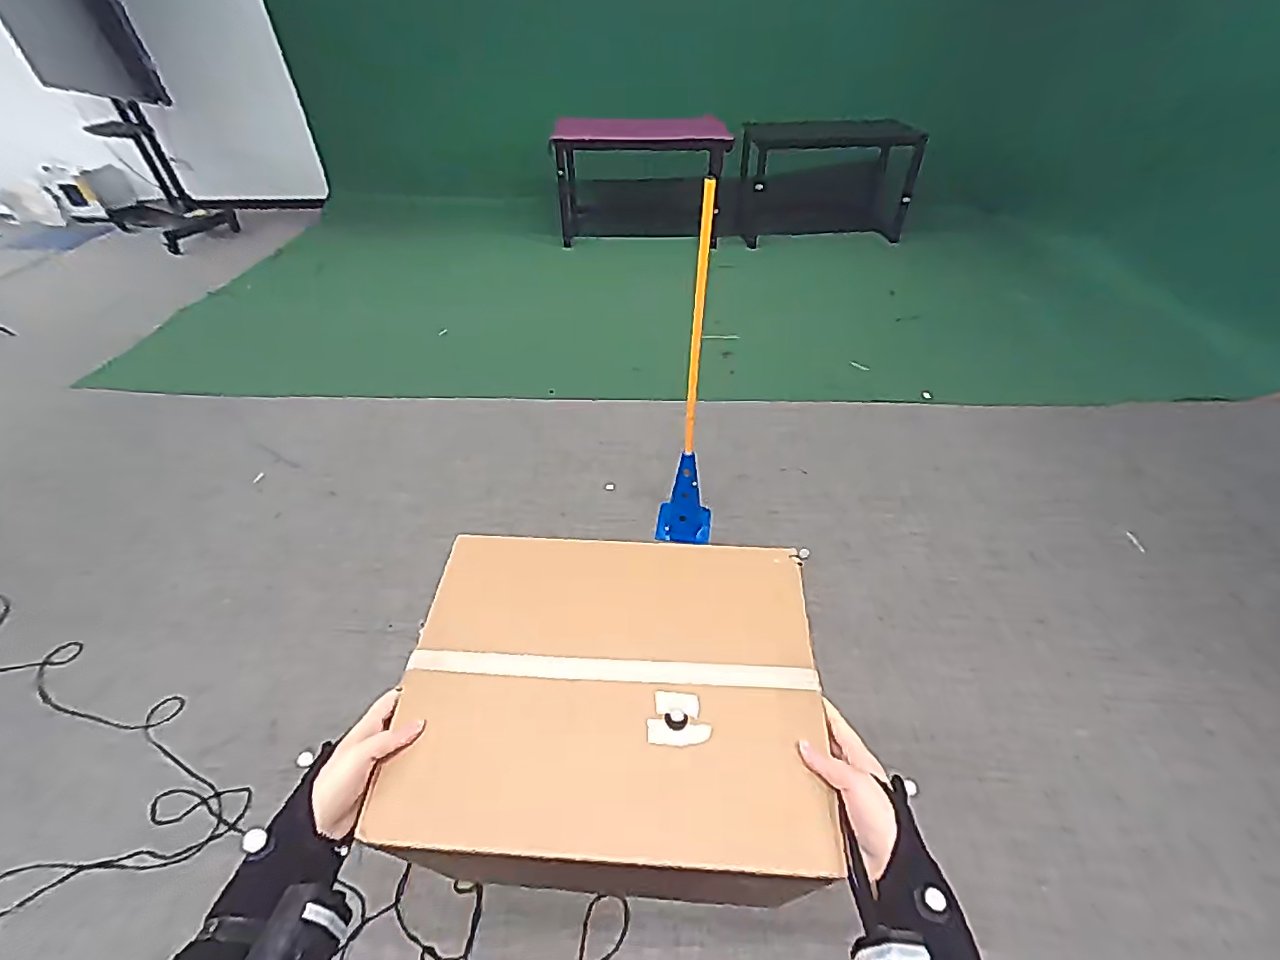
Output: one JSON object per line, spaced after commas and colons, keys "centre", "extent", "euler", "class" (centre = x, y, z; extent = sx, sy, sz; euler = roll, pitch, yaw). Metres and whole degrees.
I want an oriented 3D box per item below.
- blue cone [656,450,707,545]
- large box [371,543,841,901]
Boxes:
{"centre": [0.159, 0.053, 1.974], "extent": [0.193, 0.380, 0.192], "euler": [7, 42, 8], "class": "blue cone"}
{"centre": [-0.026, 0.296, 0.657], "extent": [0.408, 0.320, 0.320], "euler": [3, 49, 2], "class": "large box"}
